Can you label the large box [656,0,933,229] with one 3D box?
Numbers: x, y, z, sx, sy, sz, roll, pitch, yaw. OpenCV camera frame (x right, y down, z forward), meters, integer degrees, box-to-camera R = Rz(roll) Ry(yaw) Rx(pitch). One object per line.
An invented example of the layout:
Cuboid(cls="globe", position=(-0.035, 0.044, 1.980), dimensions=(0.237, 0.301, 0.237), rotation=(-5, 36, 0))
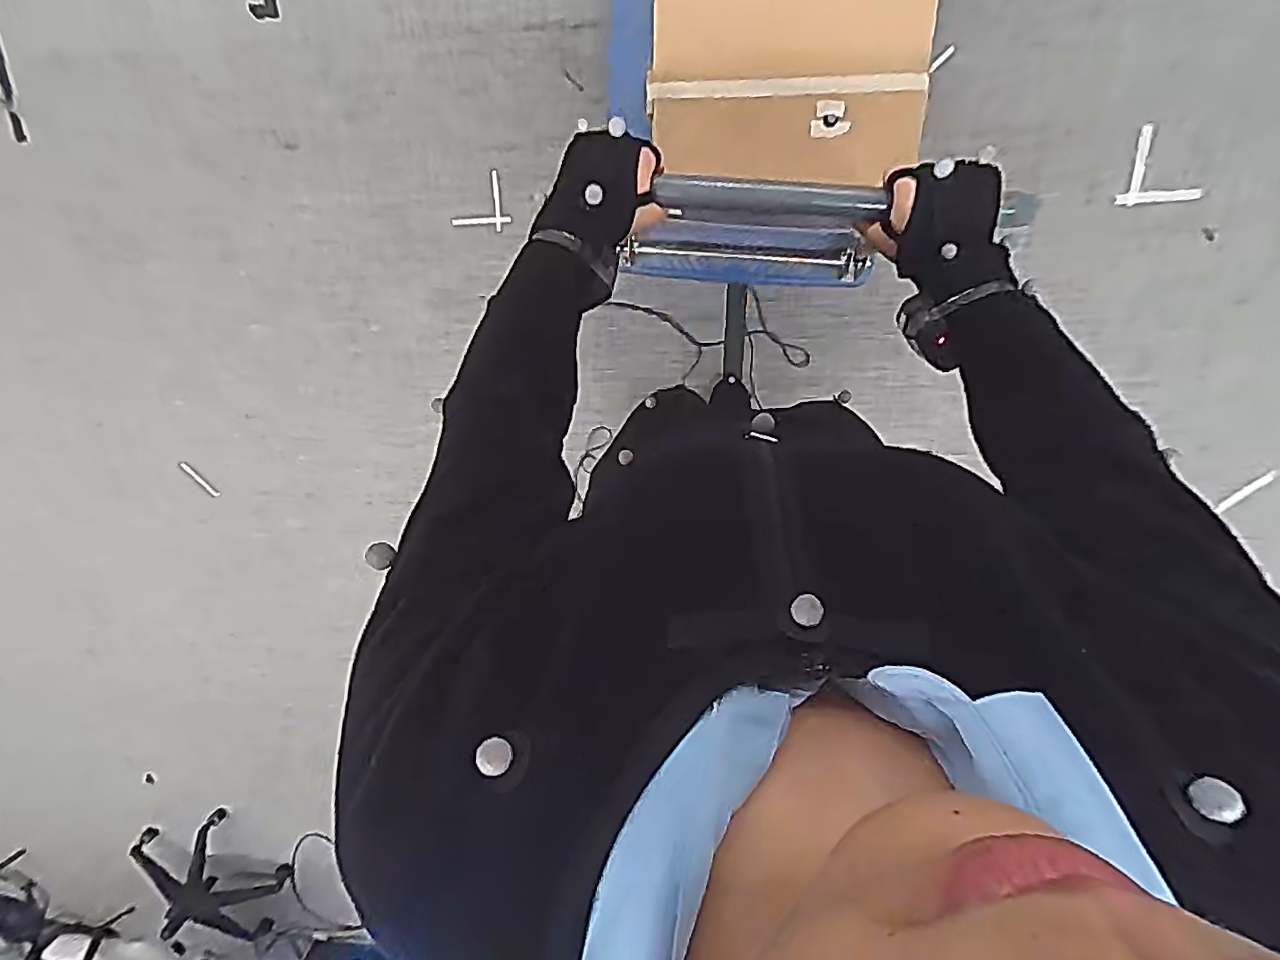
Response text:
Cuboid(cls="large box", position=(0.235, -0.641, 0.964), dimensions=(0.408, 0.320, 0.320), rotation=(1, 109, 4))
